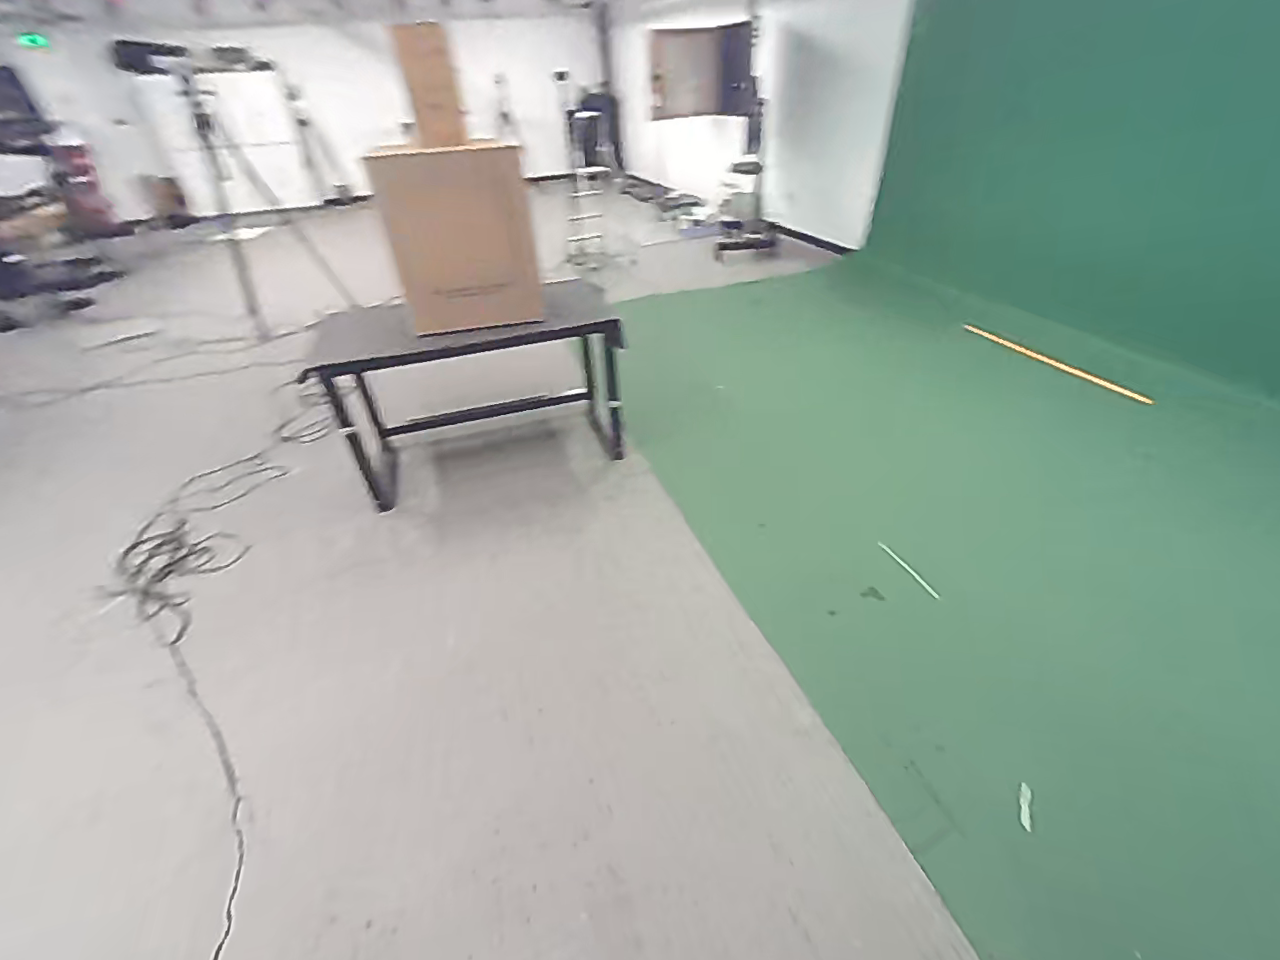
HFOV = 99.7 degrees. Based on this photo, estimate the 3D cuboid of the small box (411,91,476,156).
[{"bbox_3d":[-0.677,-1.243,1.883,0.179,0.176,0.168,-9,39,-8],"label":"small box"}]
